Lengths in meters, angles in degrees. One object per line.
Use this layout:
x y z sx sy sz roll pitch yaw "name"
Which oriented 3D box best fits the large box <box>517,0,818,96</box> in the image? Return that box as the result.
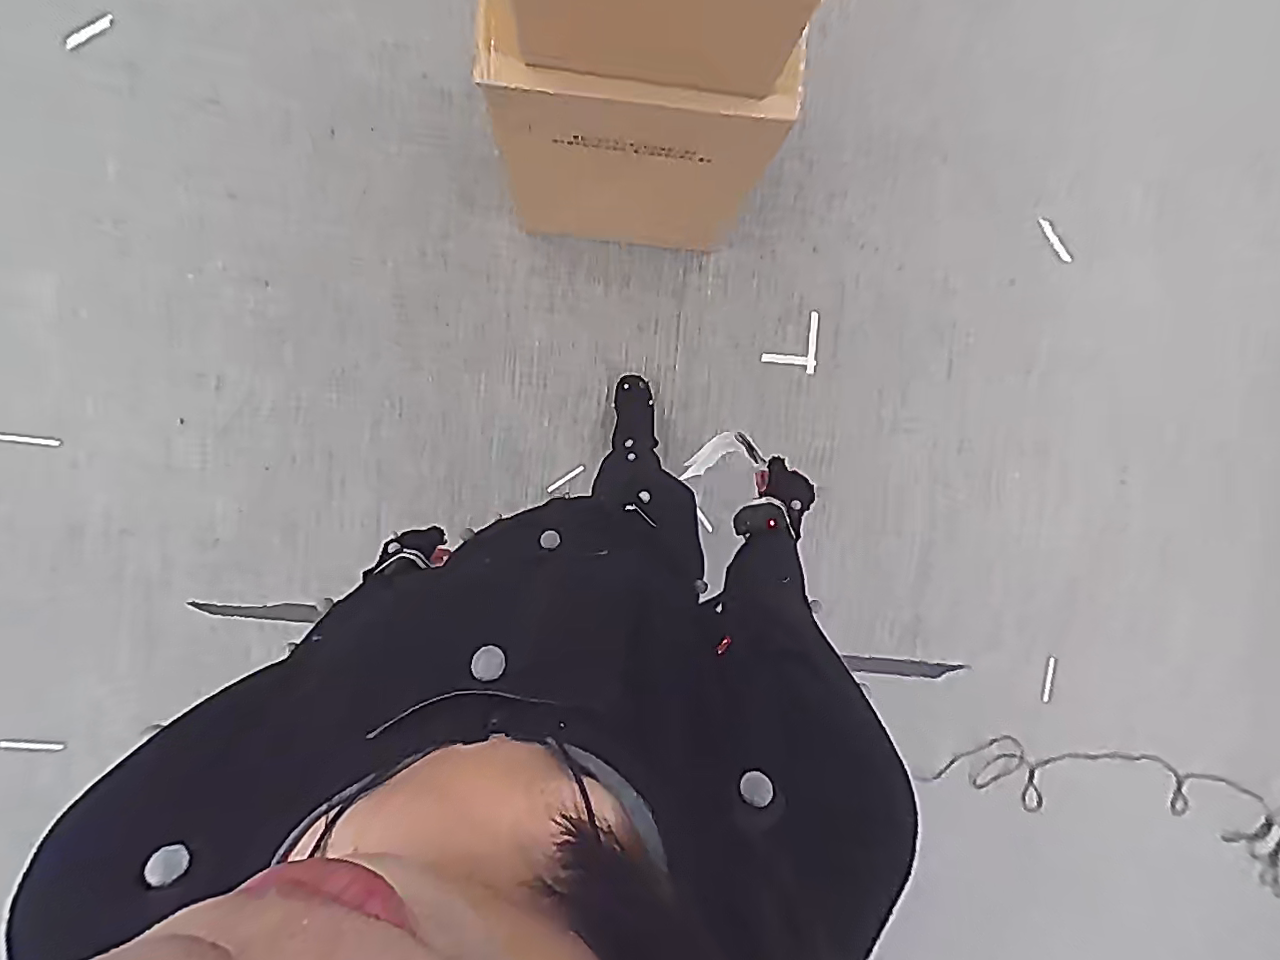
0.039 -0.780 0.716 0.408 0.320 0.320 4 94 -6 "large box"
